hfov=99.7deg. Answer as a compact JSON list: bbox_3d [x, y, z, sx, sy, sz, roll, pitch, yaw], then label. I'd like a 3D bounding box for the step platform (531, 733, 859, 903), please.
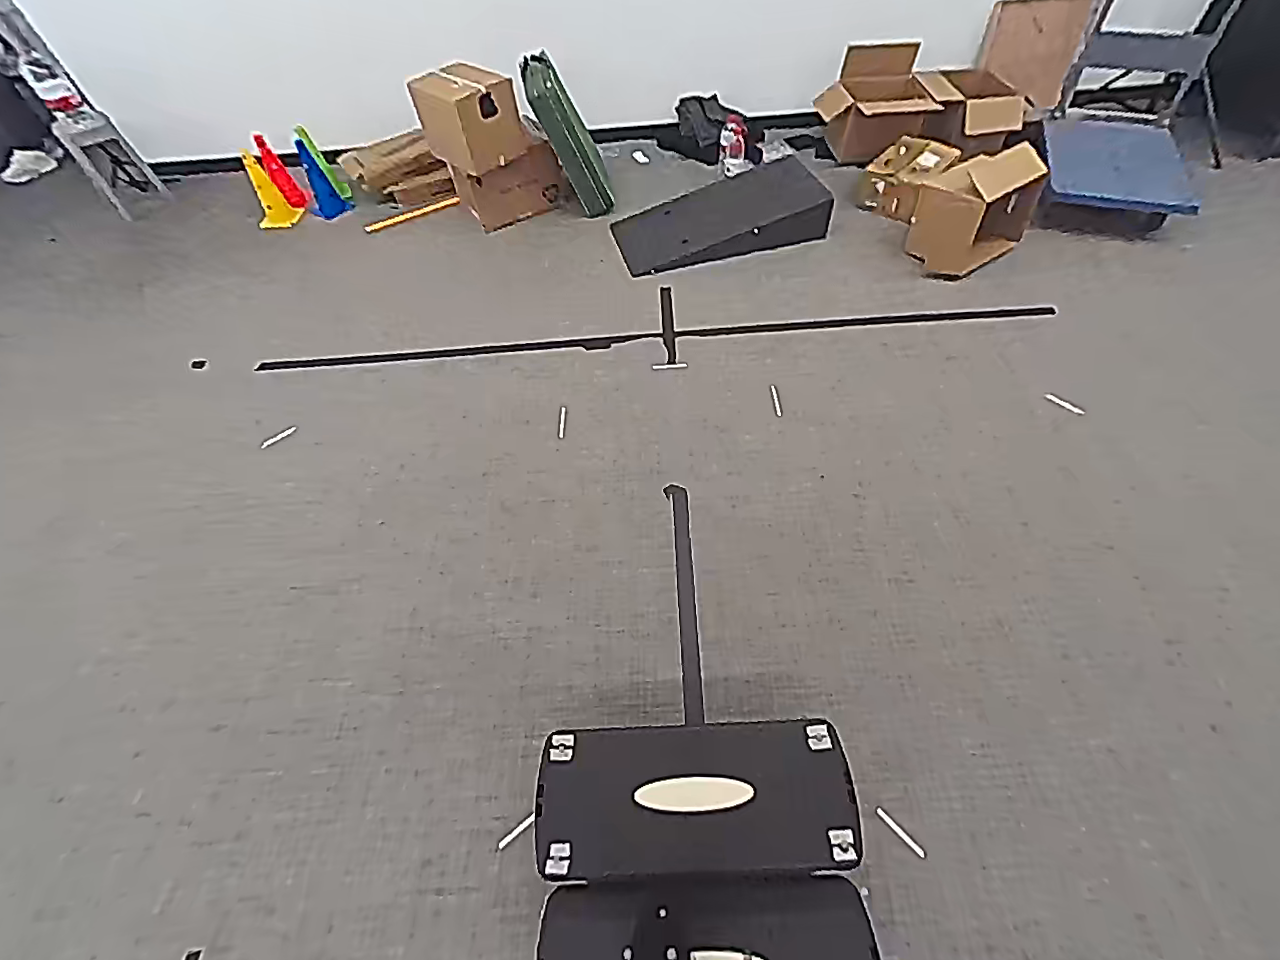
[{"bbox_3d":[0.108,0.731,1.183,0.684,0.204,0.286,-4,54,0],"label":"step platform"}]
